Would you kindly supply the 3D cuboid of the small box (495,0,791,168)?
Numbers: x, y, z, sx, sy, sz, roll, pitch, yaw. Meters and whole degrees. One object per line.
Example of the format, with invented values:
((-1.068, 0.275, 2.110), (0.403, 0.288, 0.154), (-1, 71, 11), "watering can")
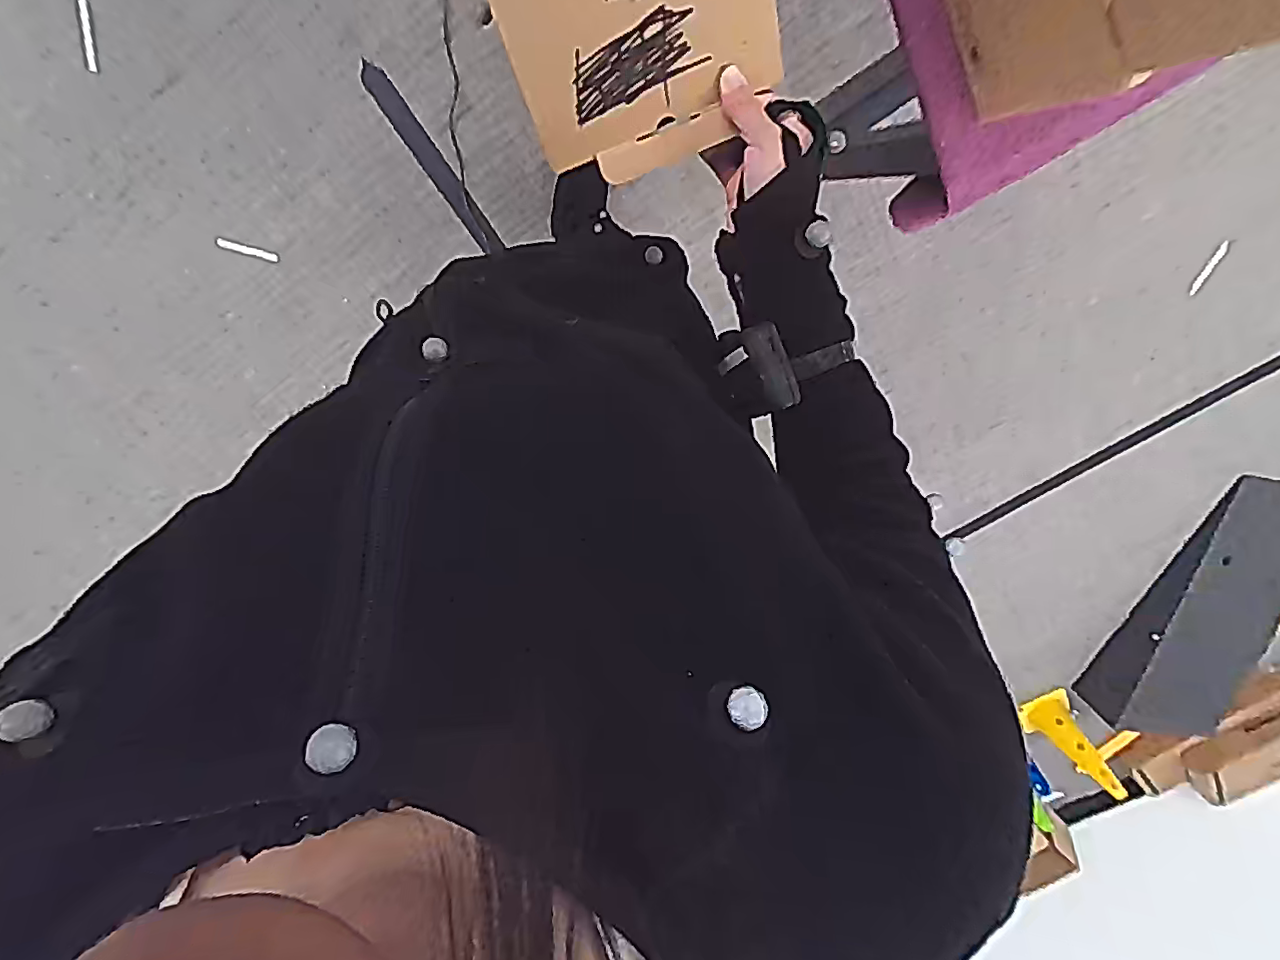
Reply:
((-0.015, -0.345, 0.364), (0.168, 0.176, 0.179), (-20, 128, 5), "small box")
